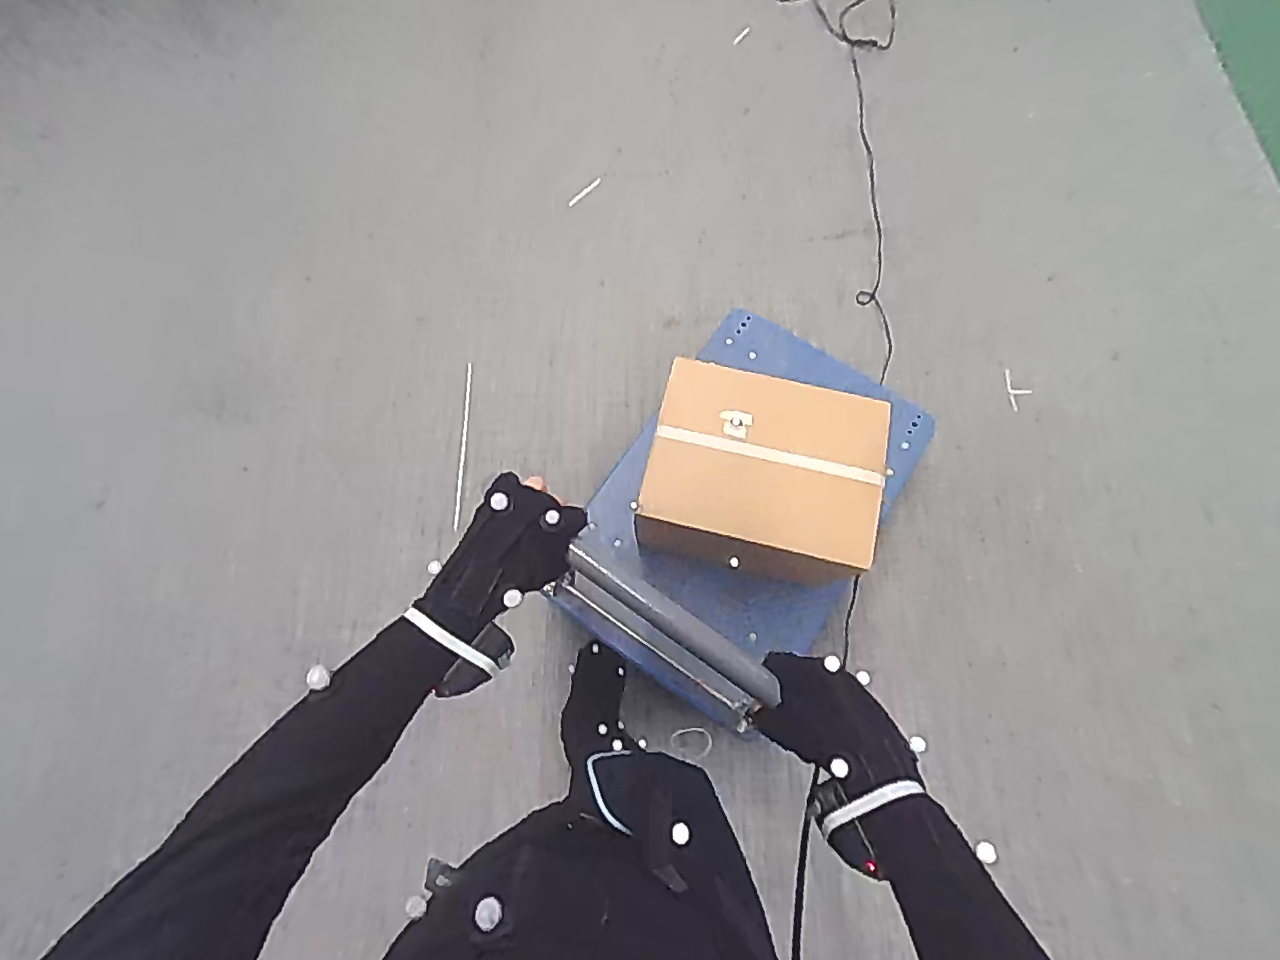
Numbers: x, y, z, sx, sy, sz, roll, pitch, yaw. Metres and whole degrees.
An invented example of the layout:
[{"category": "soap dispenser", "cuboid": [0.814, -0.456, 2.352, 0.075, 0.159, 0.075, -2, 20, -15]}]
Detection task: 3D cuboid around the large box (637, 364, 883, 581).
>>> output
[{"category": "large box", "cuboid": [0.227, 0.004, 1.108, 0.408, 0.320, 0.320, 13, 73, 6]}]
